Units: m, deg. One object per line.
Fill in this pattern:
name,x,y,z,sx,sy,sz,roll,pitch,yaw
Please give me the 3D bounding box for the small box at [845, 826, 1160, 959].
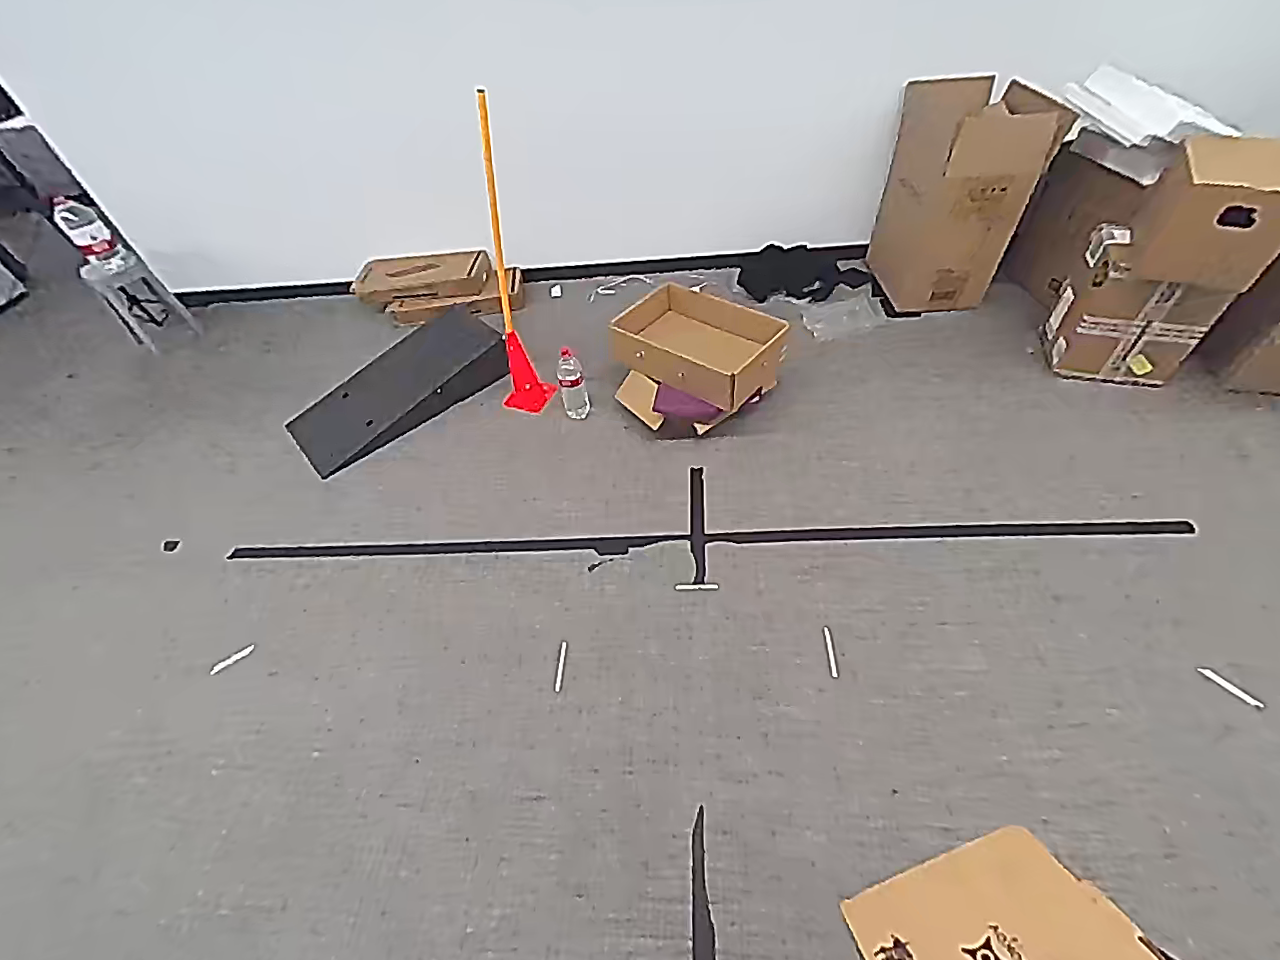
small box,0.290,0.417,0.403,0.179,0.176,0.168,-23,6,-1
